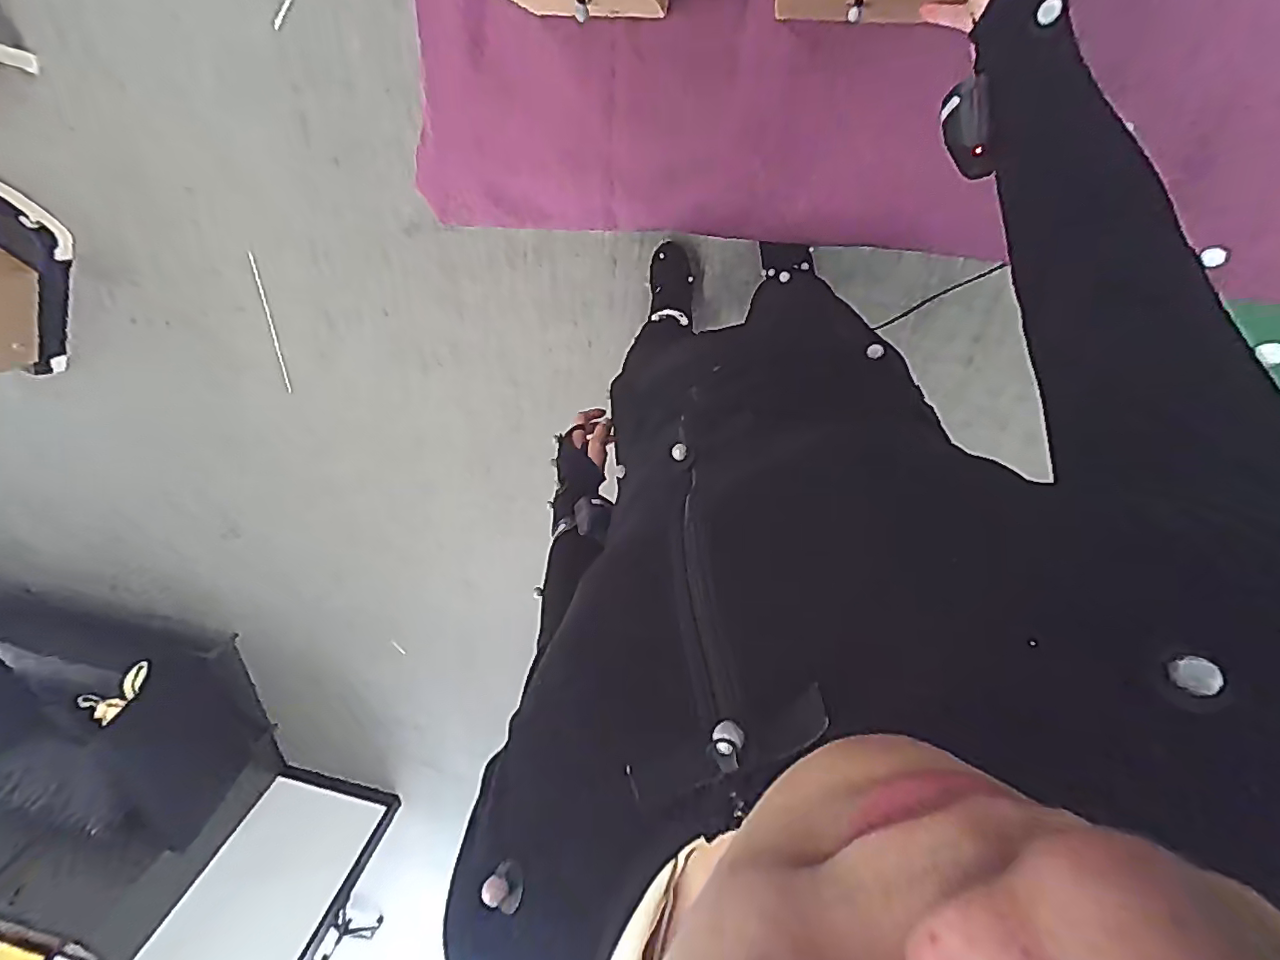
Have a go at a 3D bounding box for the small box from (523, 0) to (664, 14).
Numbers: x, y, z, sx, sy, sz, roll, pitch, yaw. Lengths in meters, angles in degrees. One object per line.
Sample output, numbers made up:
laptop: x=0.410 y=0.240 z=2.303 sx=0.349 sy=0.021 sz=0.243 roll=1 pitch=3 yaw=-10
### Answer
small box: x=-0.061 y=-0.584 z=0.531 sx=0.168 sy=0.176 sz=0.179 roll=8 pitch=123 yaw=8

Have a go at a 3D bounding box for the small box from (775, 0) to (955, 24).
small box: x=0.223 y=-0.536 z=0.488 sx=0.179 sy=0.176 sz=0.168 roll=9 pitch=122 yaw=10
